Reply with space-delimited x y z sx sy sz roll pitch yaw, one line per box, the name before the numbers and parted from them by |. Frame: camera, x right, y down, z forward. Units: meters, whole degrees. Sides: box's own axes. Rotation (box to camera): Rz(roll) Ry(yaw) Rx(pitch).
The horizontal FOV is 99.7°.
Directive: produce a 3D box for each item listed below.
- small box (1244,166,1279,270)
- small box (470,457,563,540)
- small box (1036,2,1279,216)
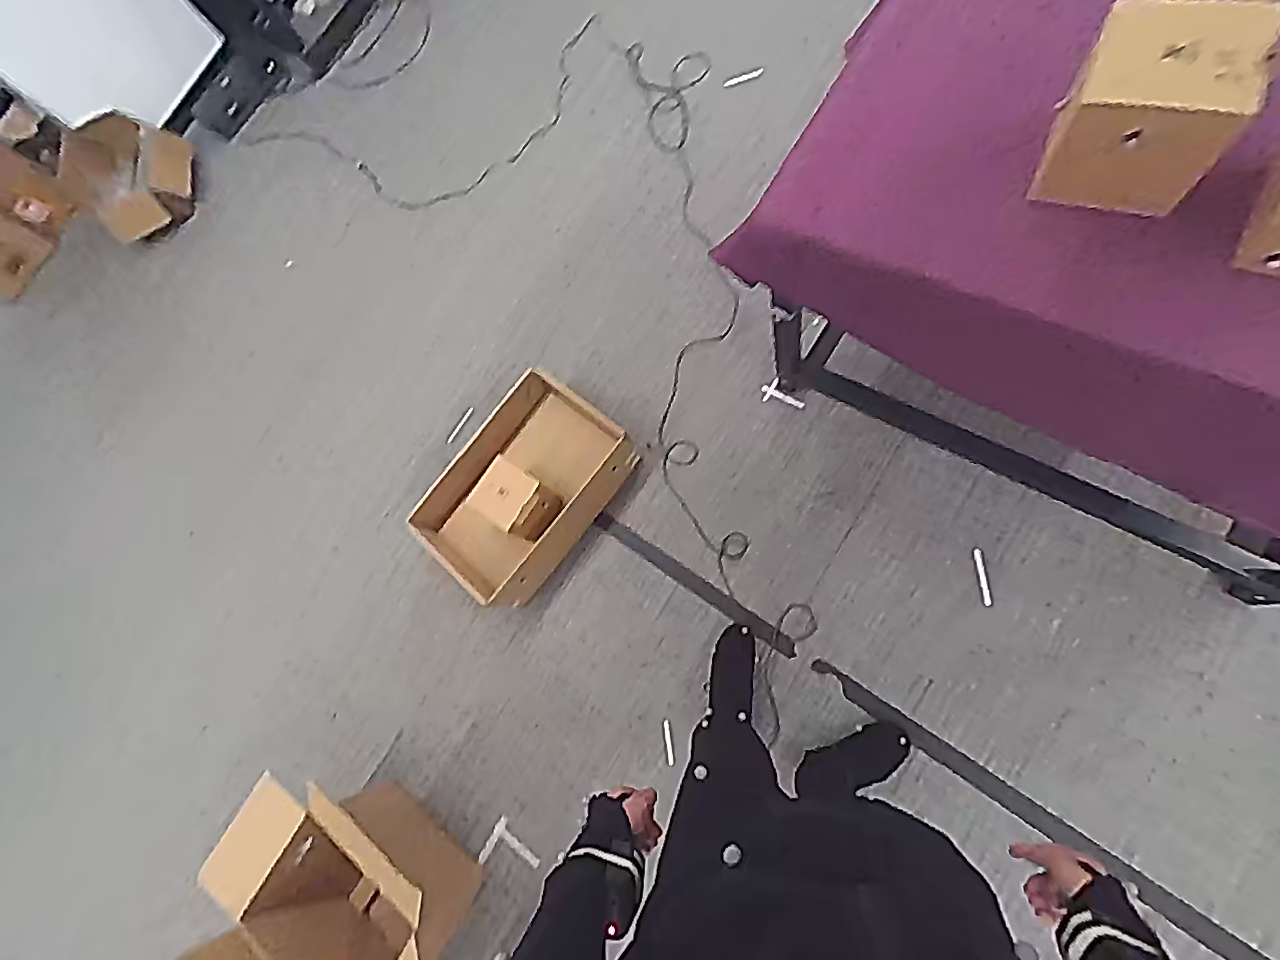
small box | 0.879 -0.346 0.627 0.168 0.176 0.179 26 82 21
small box | -0.358 0.063 1.600 0.179 0.176 0.168 32 84 22
small box | 0.676 -0.487 0.725 0.179 0.176 0.168 21 82 20
